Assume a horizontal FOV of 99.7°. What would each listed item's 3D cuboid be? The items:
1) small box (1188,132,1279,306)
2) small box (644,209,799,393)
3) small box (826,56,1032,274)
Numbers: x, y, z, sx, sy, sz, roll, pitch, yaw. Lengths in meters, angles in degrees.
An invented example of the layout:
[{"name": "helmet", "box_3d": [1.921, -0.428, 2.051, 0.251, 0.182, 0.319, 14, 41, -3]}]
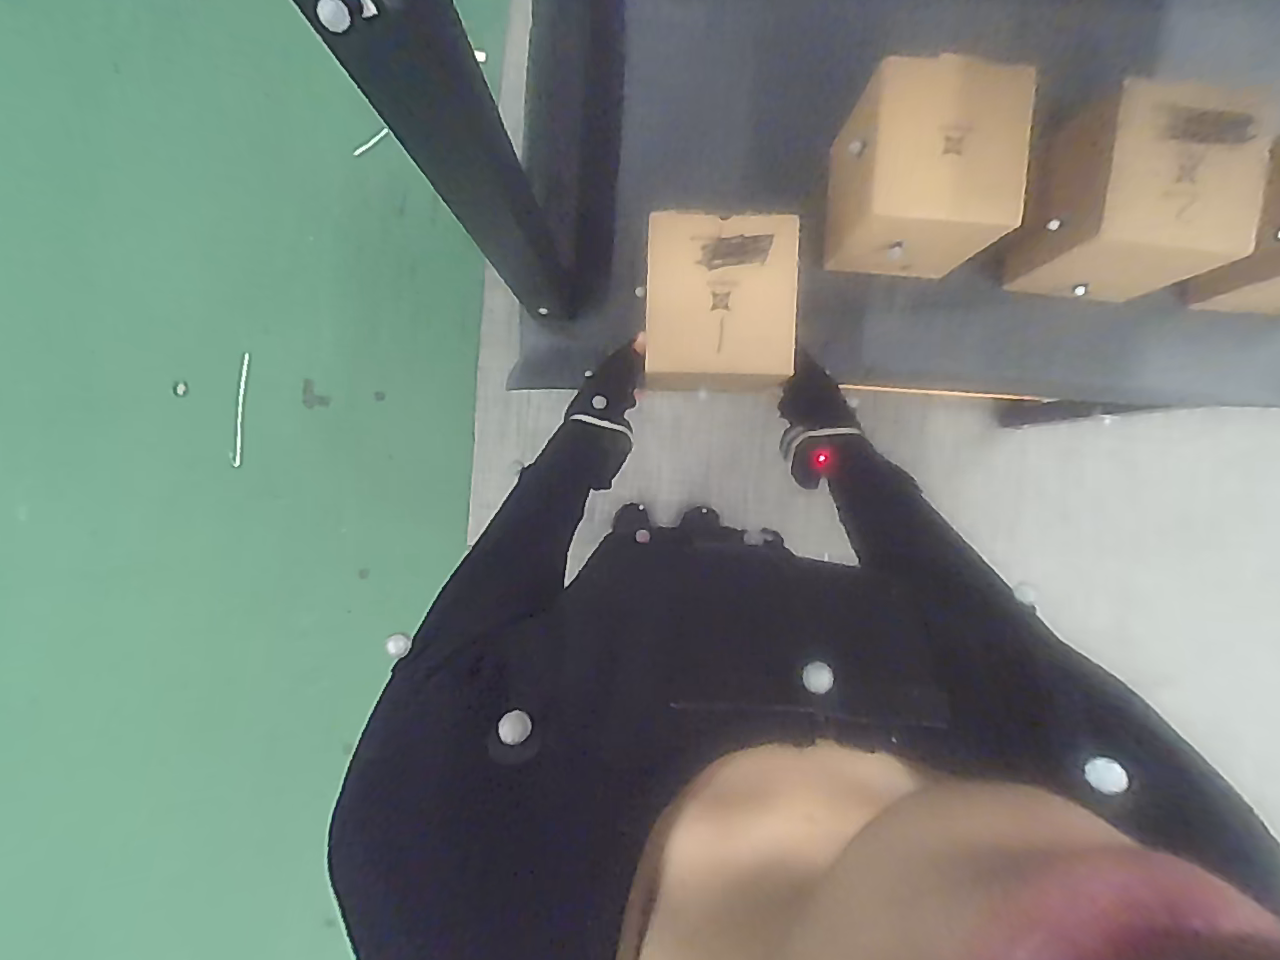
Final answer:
[{"name": "small box", "box_3d": [0.830, -0.321, 0.657, 0.168, 0.176, 0.179, 4, 90, 1]}, {"name": "small box", "box_3d": [0.091, -0.209, 0.673, 0.168, 0.176, 0.179, 2, 92, 1]}, {"name": "small box", "box_3d": [0.340, -0.372, 0.670, 0.168, 0.176, 0.179, 4, 90, 1]}]
